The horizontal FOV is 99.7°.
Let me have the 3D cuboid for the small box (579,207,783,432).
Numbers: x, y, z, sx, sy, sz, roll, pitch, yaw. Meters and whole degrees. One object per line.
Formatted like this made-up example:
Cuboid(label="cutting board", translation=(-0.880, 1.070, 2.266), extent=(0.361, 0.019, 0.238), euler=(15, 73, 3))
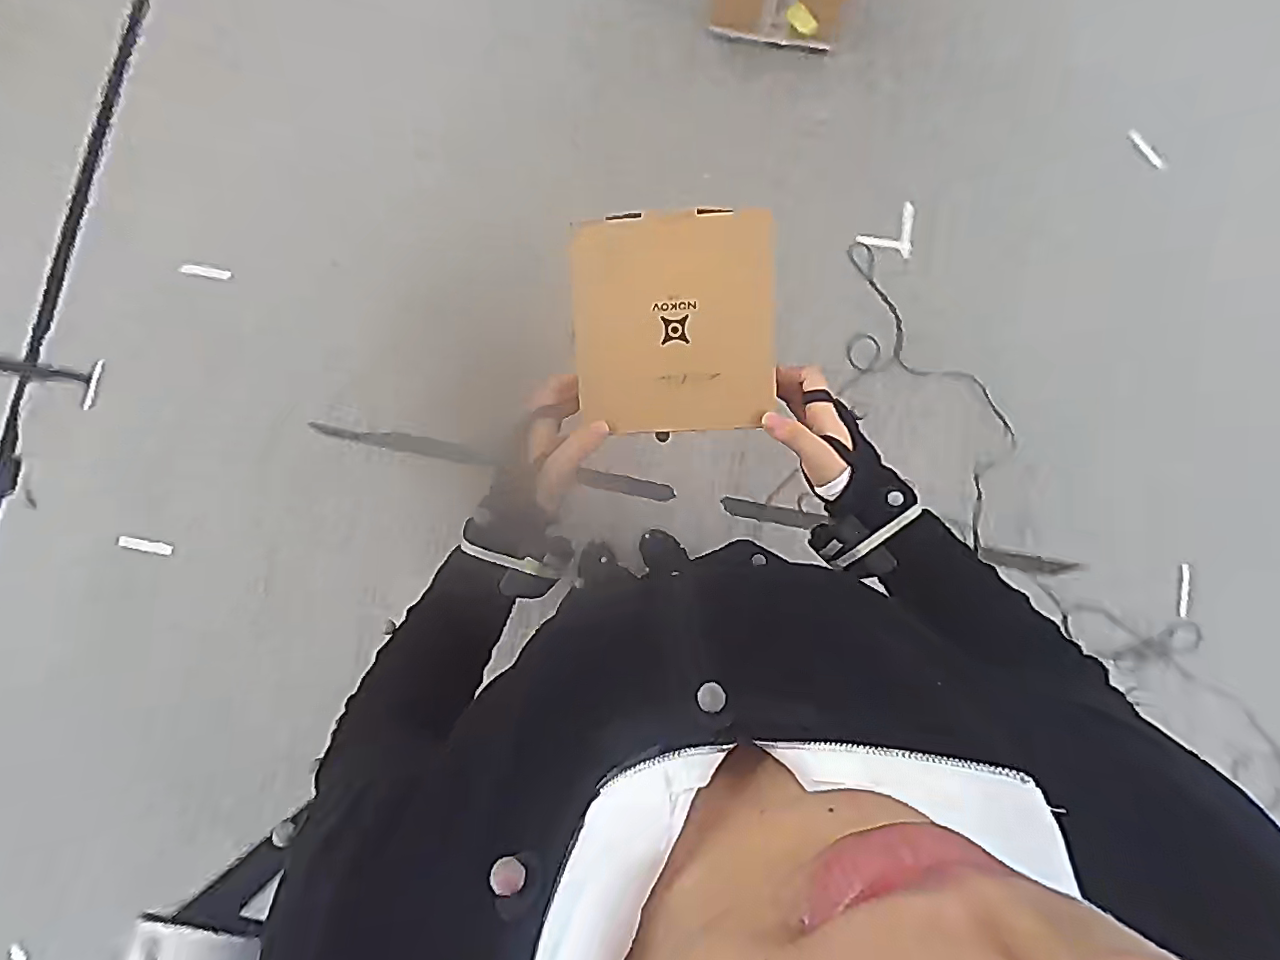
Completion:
Cuboid(label="small box", translation=(0.036, -0.139, 0.517), extent=(0.168, 0.176, 0.179), euler=(-2, 99, 3))
